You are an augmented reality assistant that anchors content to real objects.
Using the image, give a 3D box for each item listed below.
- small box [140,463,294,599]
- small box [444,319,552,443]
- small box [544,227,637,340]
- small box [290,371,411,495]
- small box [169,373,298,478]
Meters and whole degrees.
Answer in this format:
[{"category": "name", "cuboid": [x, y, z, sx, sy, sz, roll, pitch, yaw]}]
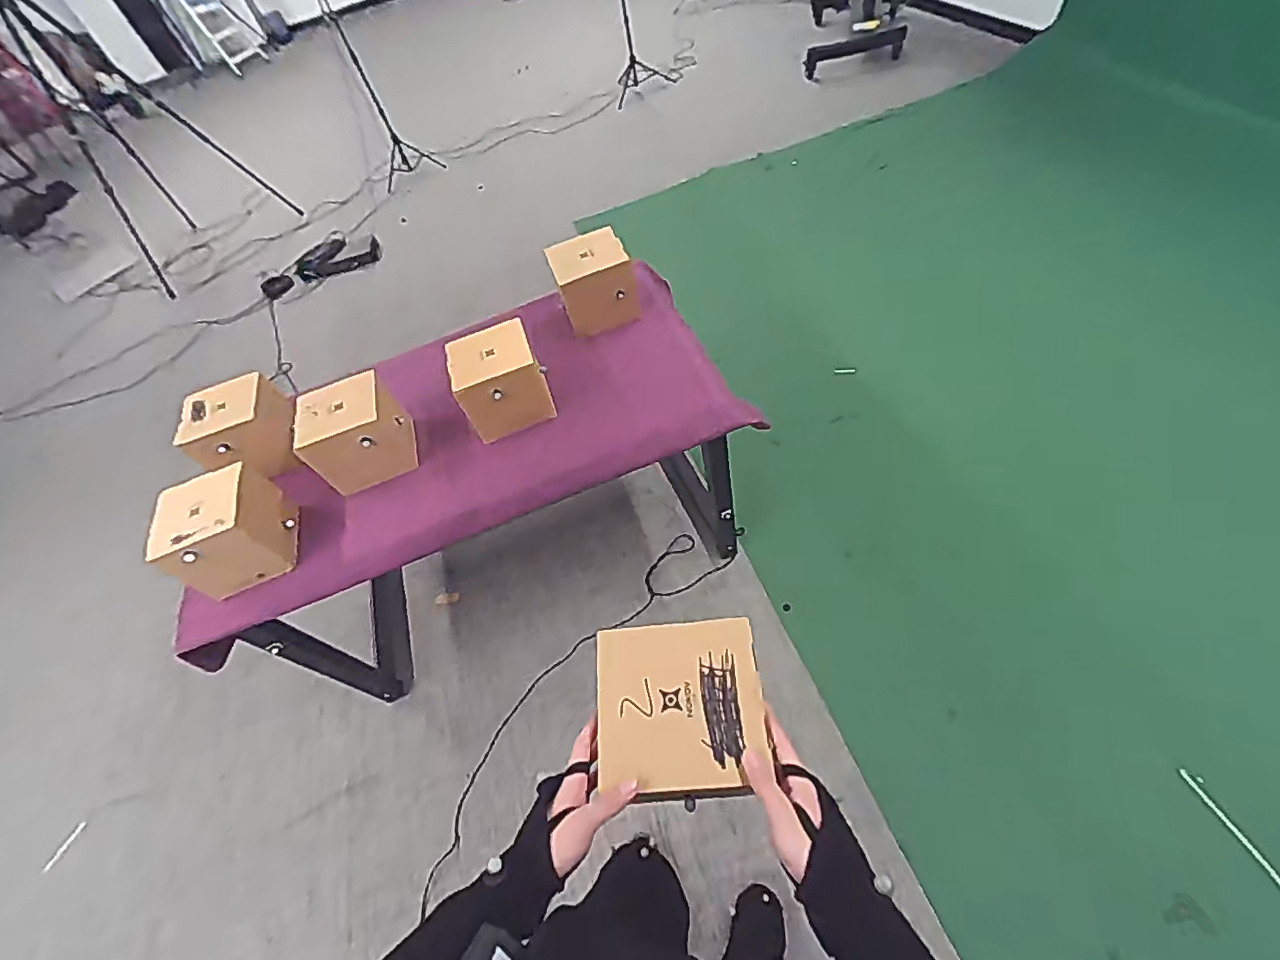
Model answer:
[{"category": "small box", "cuboid": [-0.818, 0.104, 1.069, 0.168, 0.176, 0.179, -23, 52, -4]}, {"category": "small box", "cuboid": [-0.304, -0.213, 1.185, 0.179, 0.176, 0.168, -22, 54, -2]}, {"category": "small box", "cuboid": [-0.114, -0.479, 1.327, 0.179, 0.176, 0.168, -21, 55, -2]}, {"category": "small box", "cuboid": [-0.613, -0.098, 1.168, 0.179, 0.176, 0.168, -21, 53, -3]}, {"category": "small box", "cuboid": [-0.913, -0.109, 1.242, 0.179, 0.176, 0.168, -21, 54, -4]}]
